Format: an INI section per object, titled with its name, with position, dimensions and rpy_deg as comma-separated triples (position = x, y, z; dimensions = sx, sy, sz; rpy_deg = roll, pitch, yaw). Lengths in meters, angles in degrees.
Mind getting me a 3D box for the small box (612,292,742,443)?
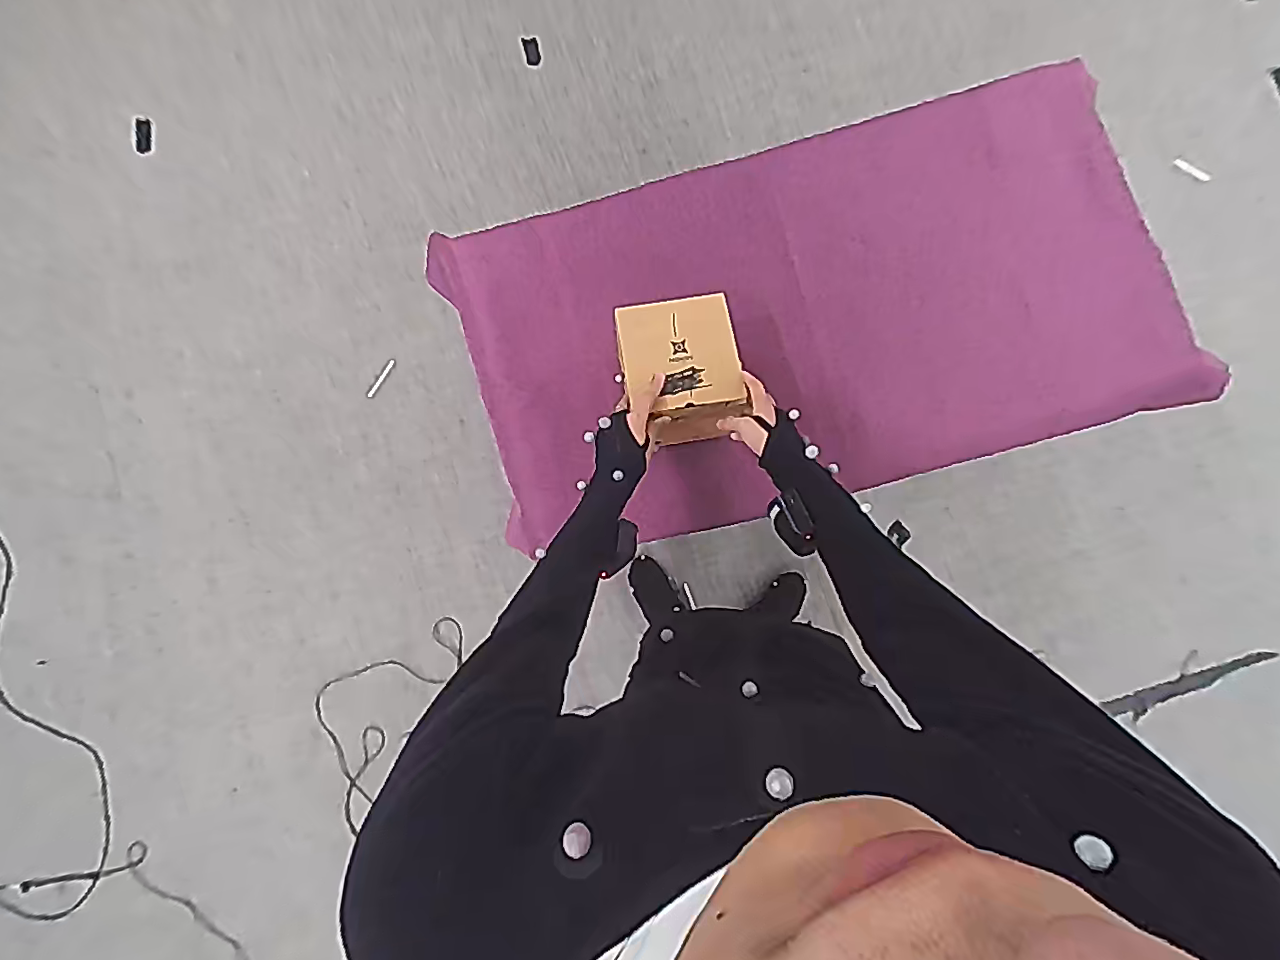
[small box]
position = 0.052, -0.163, 0.844
dimensions = 0.168, 0.176, 0.179
rpy_deg = -9, 79, -2
